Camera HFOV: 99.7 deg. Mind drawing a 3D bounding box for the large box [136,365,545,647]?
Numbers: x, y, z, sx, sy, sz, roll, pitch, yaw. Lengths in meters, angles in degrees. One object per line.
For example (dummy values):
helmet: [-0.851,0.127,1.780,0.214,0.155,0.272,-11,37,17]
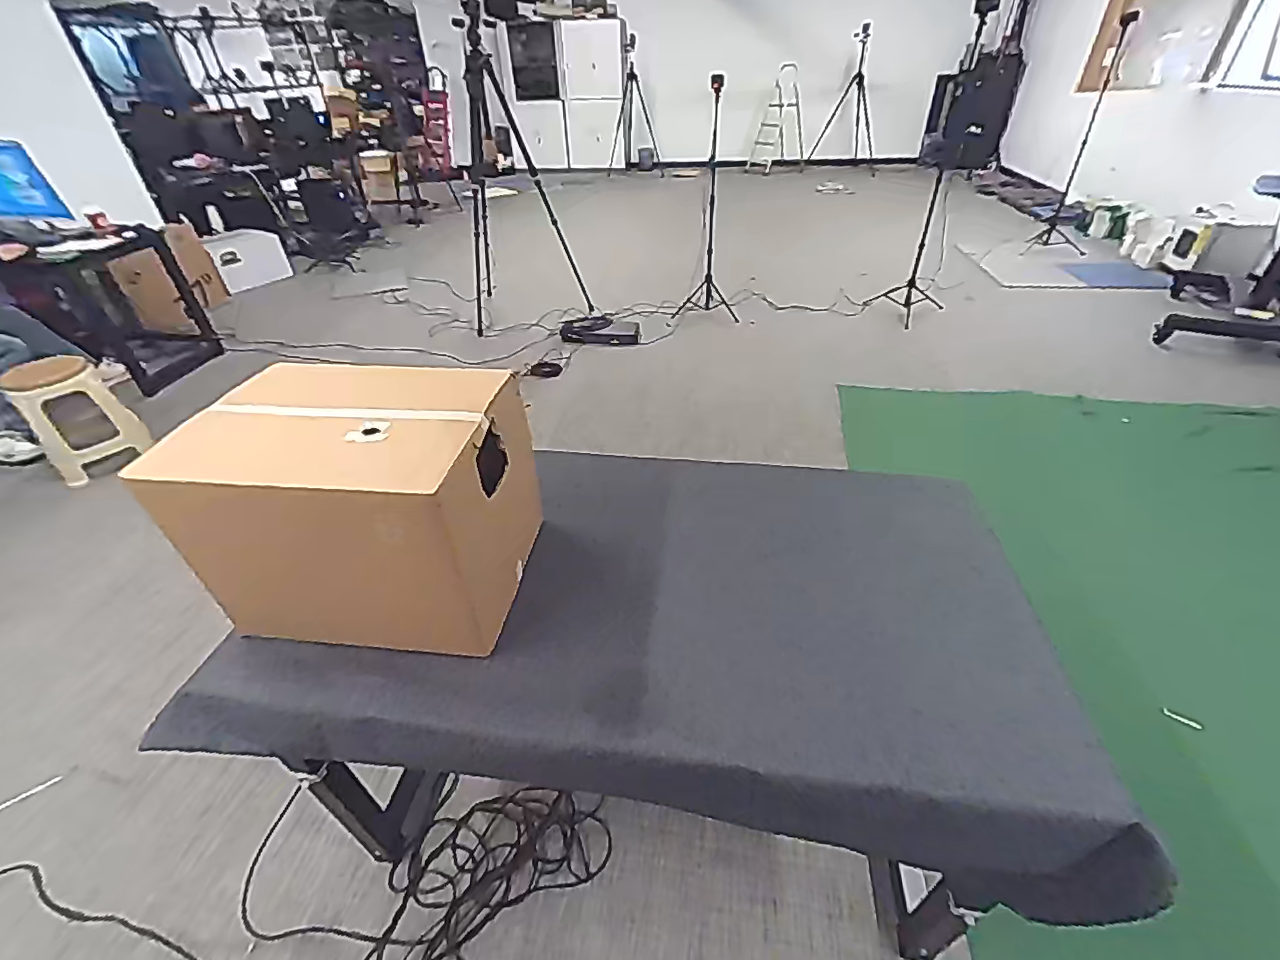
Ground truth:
large box: [-0.392,0.031,0.836,0.408,0.320,0.320,3,39,5]
